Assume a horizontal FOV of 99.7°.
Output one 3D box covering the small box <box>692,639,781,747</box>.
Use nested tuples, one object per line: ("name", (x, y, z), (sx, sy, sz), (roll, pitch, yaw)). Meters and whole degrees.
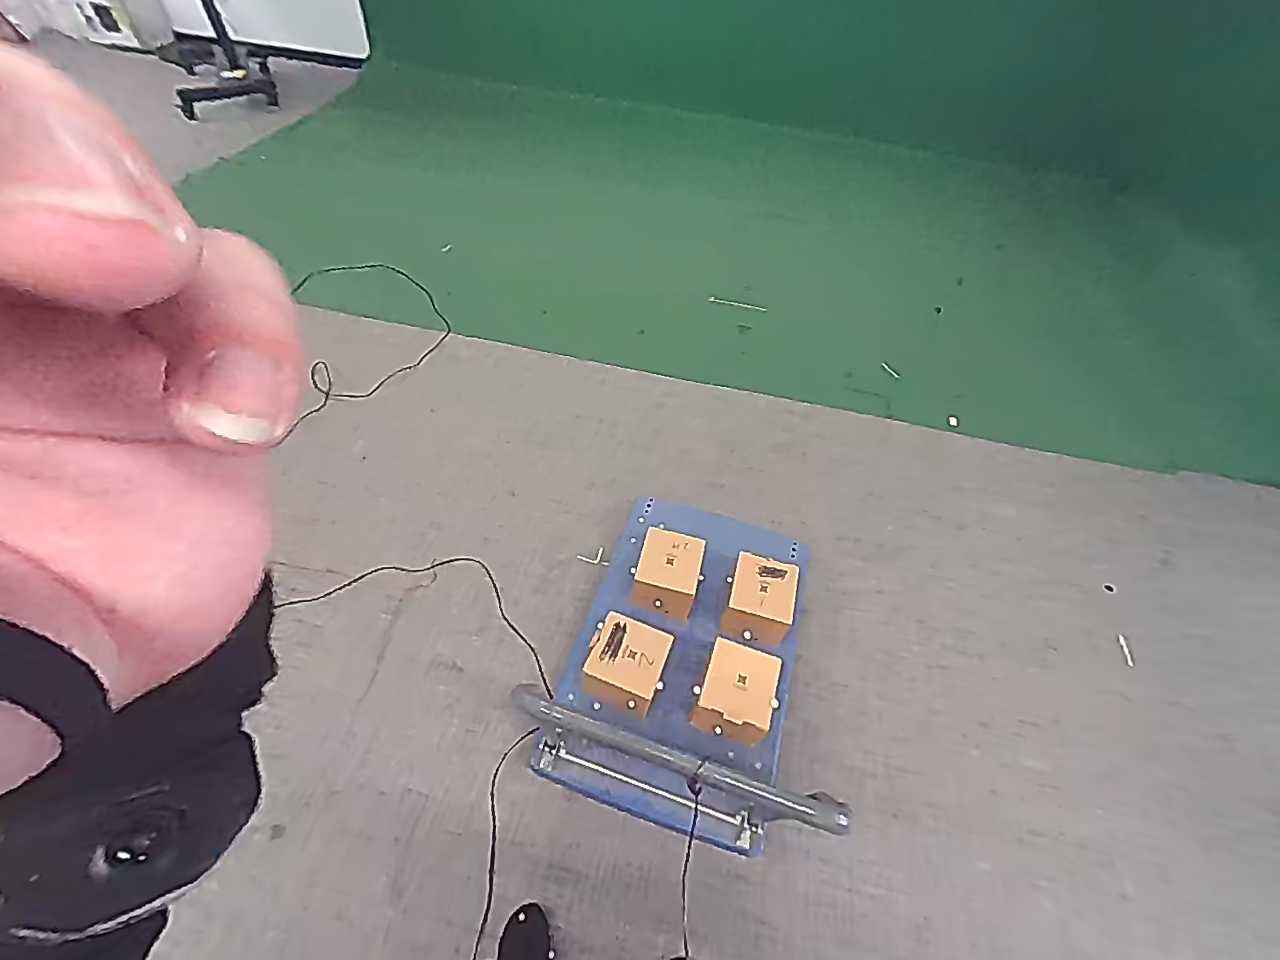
("small box", (0.233, 0.527, 1.331), (0.168, 0.176, 0.179), (17, 54, 9))

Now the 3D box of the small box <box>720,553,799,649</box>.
("small box", (0.324, 0.334, 1.484), (0.168, 0.176, 0.179), (15, 54, 8))

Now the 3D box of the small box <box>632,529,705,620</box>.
("small box", (0.077, 0.269, 1.517), (0.168, 0.176, 0.179), (14, 53, 6))
